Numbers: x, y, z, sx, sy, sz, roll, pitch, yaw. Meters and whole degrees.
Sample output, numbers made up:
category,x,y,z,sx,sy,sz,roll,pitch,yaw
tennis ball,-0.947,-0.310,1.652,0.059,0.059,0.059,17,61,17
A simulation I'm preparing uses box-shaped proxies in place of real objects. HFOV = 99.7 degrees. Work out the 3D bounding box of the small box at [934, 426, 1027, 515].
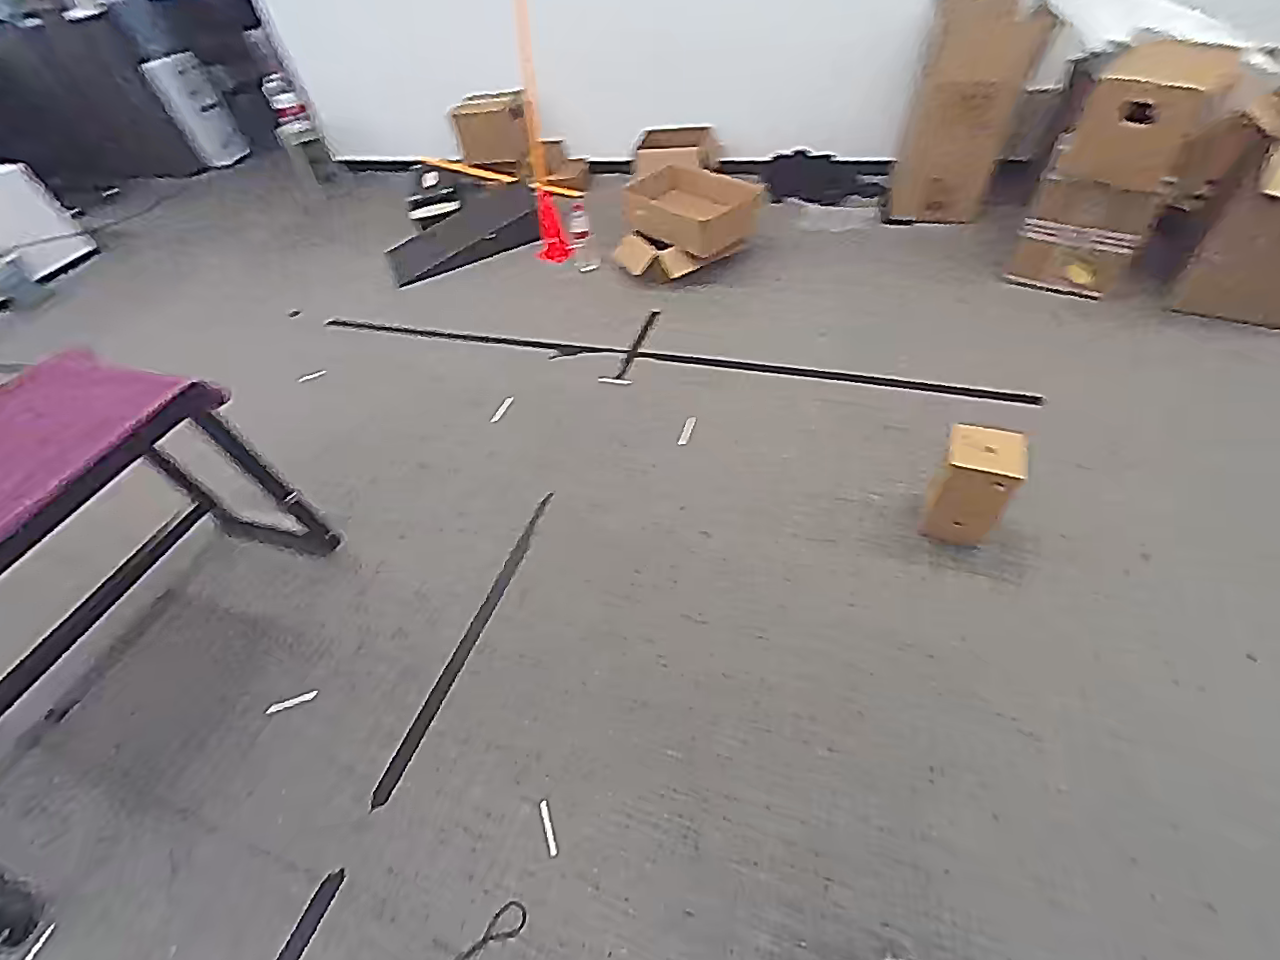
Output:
category,x,y,z,sx,sy,sz,roll,pitch,yaw
small box,0.947,-0.023,1.508,0.179,0.176,0.168,14,53,20
